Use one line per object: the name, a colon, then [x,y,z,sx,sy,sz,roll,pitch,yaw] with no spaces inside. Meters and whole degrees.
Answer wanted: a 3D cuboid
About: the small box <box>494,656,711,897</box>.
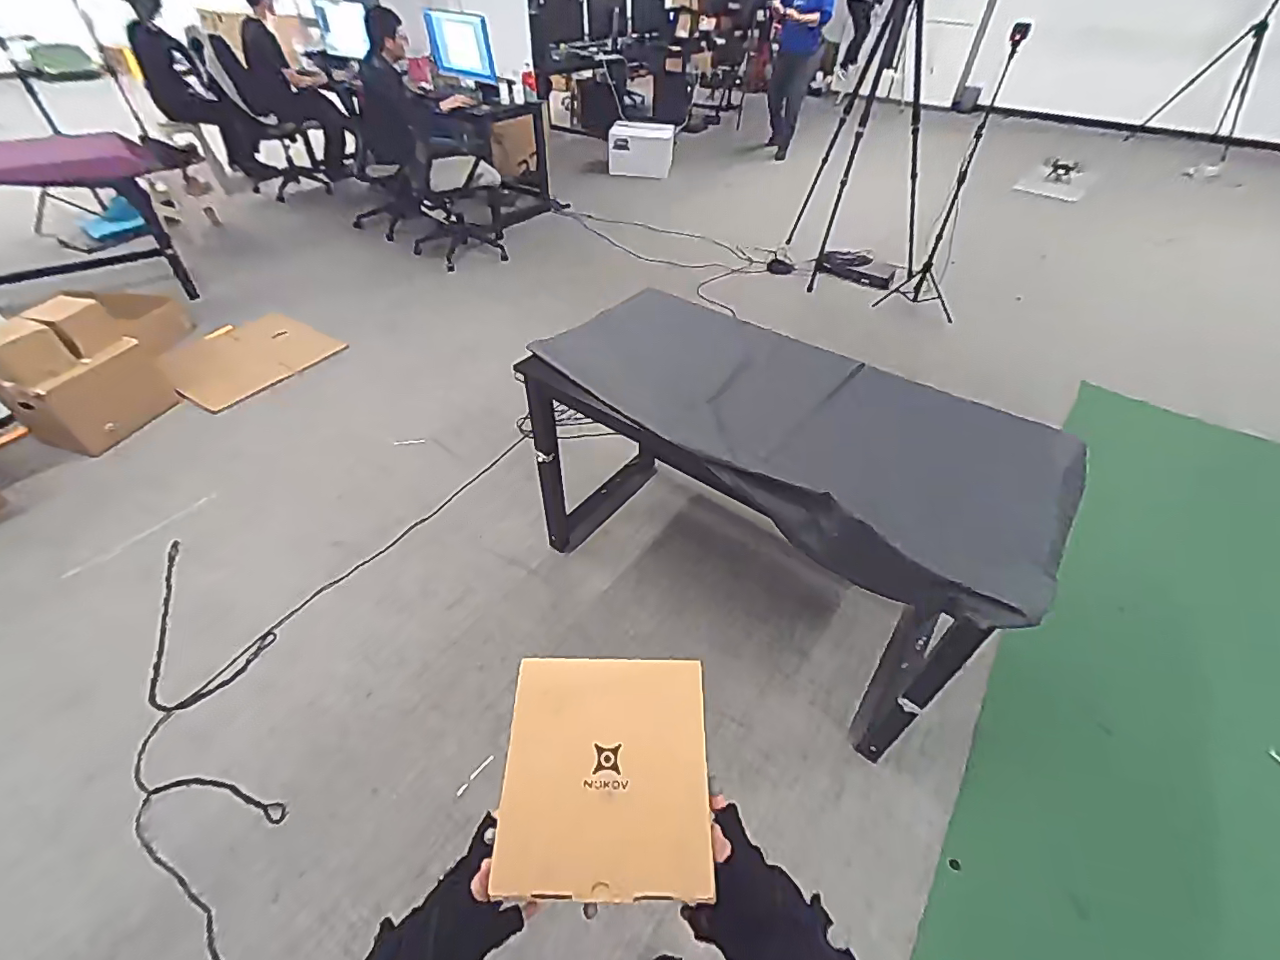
small box: [-0.030,0.283,0.514,0.168,0.176,0.179,2,54,-1]
